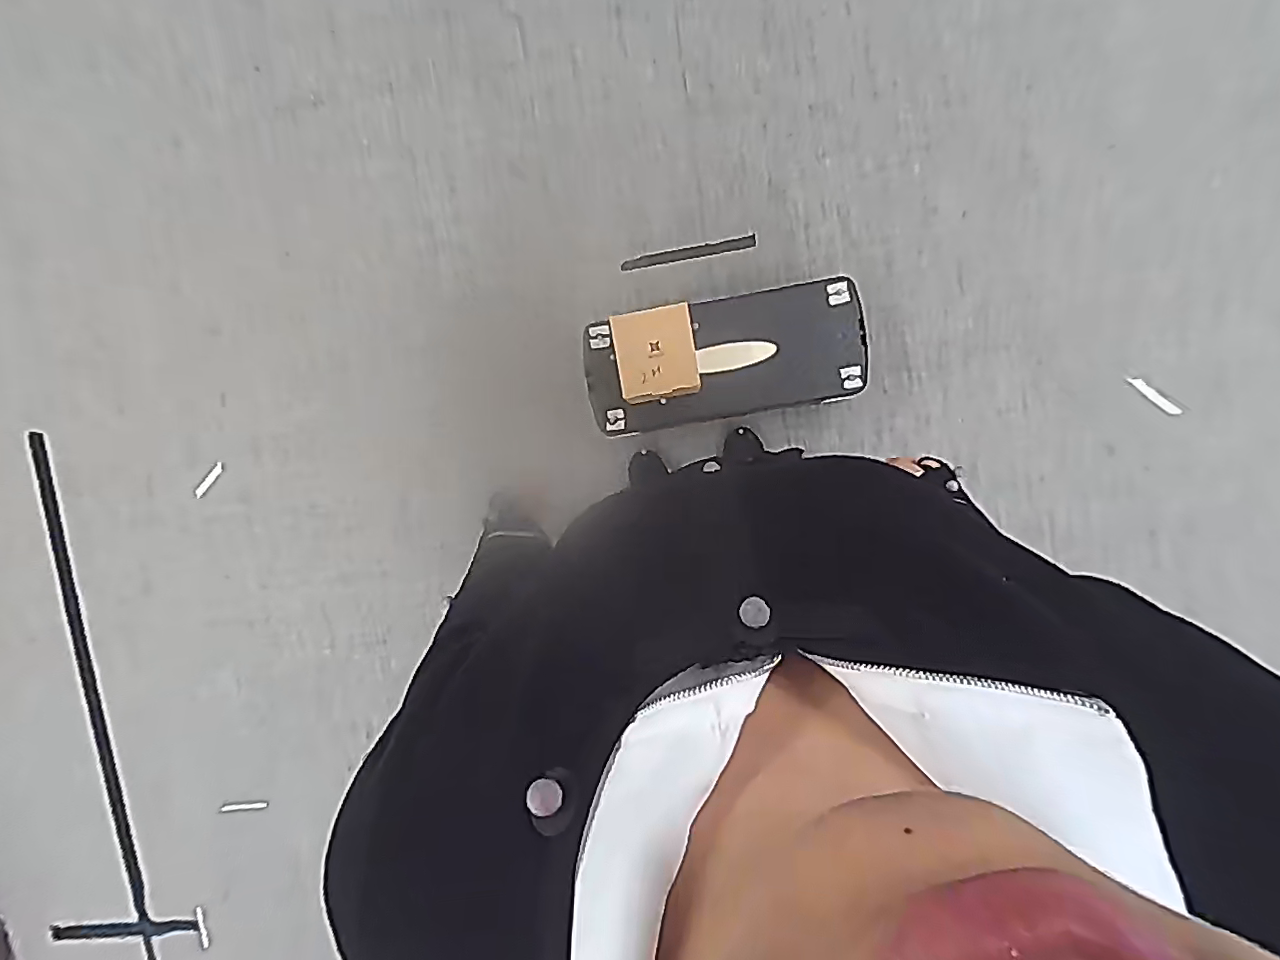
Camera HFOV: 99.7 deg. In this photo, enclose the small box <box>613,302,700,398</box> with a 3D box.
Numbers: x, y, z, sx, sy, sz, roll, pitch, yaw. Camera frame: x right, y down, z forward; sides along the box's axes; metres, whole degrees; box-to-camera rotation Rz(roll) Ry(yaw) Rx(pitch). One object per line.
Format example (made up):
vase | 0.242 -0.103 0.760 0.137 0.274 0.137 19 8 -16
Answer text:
small box | 0.035 -0.274 1.199 0.168 0.176 0.179 -9 94 5
